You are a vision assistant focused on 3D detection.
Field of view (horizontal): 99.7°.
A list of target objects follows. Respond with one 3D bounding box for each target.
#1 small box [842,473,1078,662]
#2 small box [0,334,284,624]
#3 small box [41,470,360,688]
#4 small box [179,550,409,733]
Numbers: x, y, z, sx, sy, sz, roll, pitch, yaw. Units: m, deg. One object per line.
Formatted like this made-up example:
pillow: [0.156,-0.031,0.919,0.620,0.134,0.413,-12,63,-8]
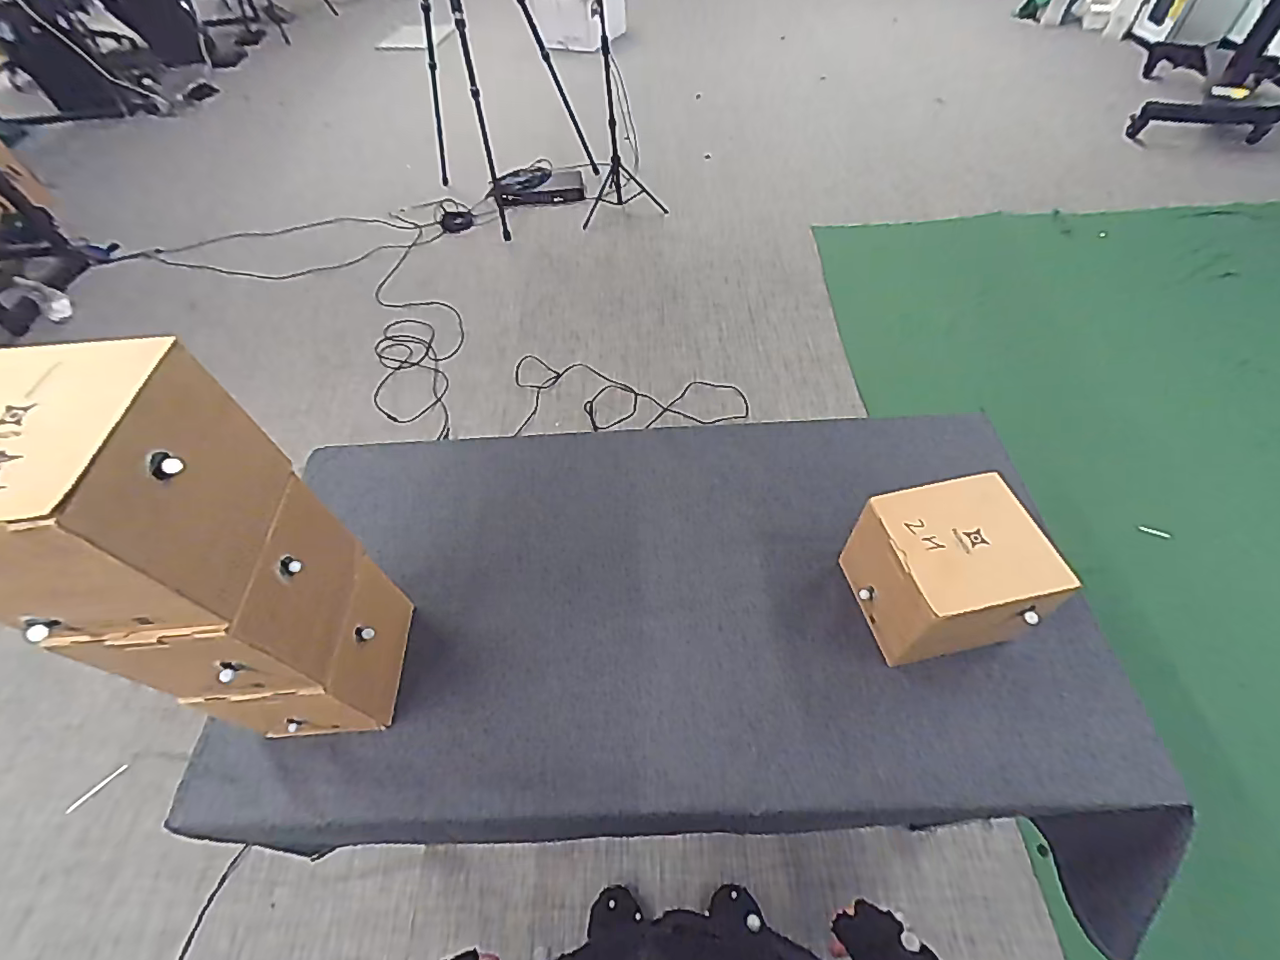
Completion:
small box: [0.391,0.117,0.700,0.179,0.176,0.168,-11,53,-3]
small box: [-0.435,0.008,0.441,0.168,0.176,0.179,-4,53,-1]
small box: [-0.426,0.111,0.569,0.168,0.176,0.179,-3,53,0]
small box: [-0.419,0.210,0.698,0.168,0.176,0.179,-5,54,1]
